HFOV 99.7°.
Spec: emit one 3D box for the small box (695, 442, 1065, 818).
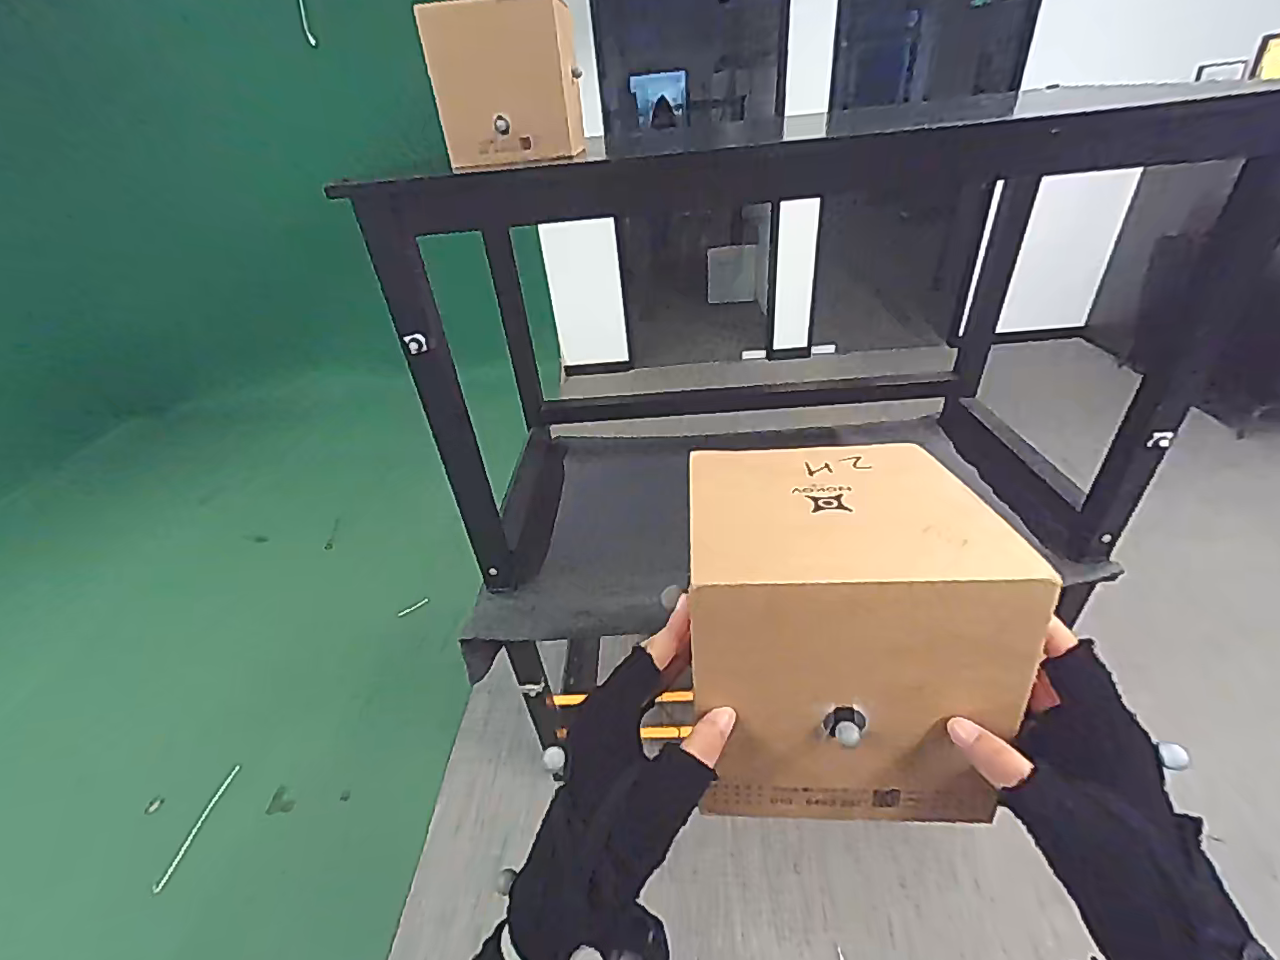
[{"bbox_3d":[0.122,0.086,0.353,0.168,0.176,0.179,-1,24,6],"label":"small box"}]
